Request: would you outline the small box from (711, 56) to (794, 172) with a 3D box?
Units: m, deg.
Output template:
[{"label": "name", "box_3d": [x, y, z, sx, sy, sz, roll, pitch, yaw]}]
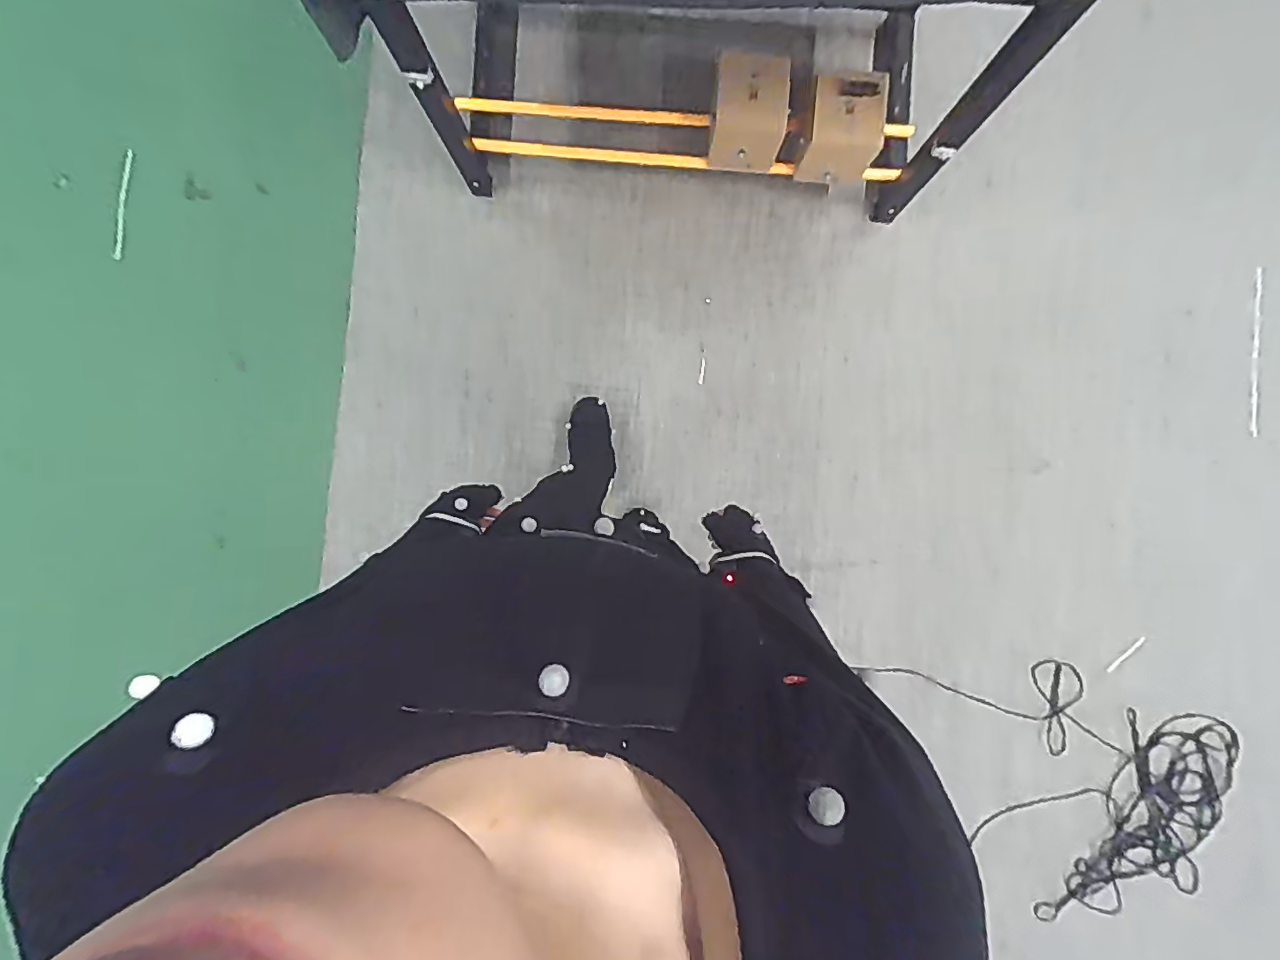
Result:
[{"label": "small box", "box_3d": [0.267, -0.883, 1.320, 0.168, 0.176, 0.179, 4, 89, 0]}]
